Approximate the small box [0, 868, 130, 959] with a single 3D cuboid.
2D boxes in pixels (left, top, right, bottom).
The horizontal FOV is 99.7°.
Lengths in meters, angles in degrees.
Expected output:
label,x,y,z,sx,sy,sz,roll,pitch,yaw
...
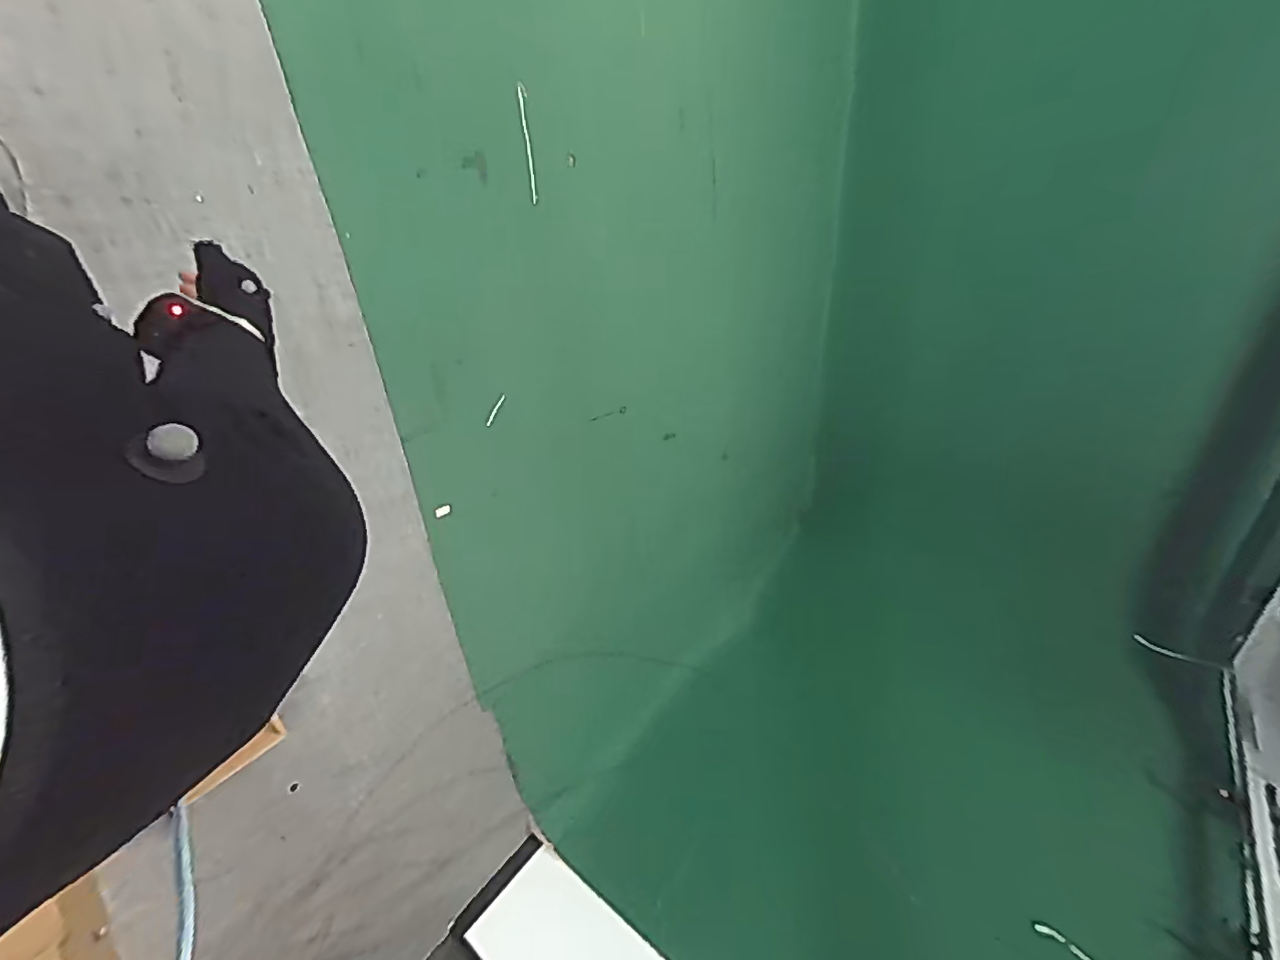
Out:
label,x,y,z,sx,sy,sz,roll,pitch,yaw
small box,-0.973,0.771,0.862,0.168,0.176,0.179,-34,131,-41
